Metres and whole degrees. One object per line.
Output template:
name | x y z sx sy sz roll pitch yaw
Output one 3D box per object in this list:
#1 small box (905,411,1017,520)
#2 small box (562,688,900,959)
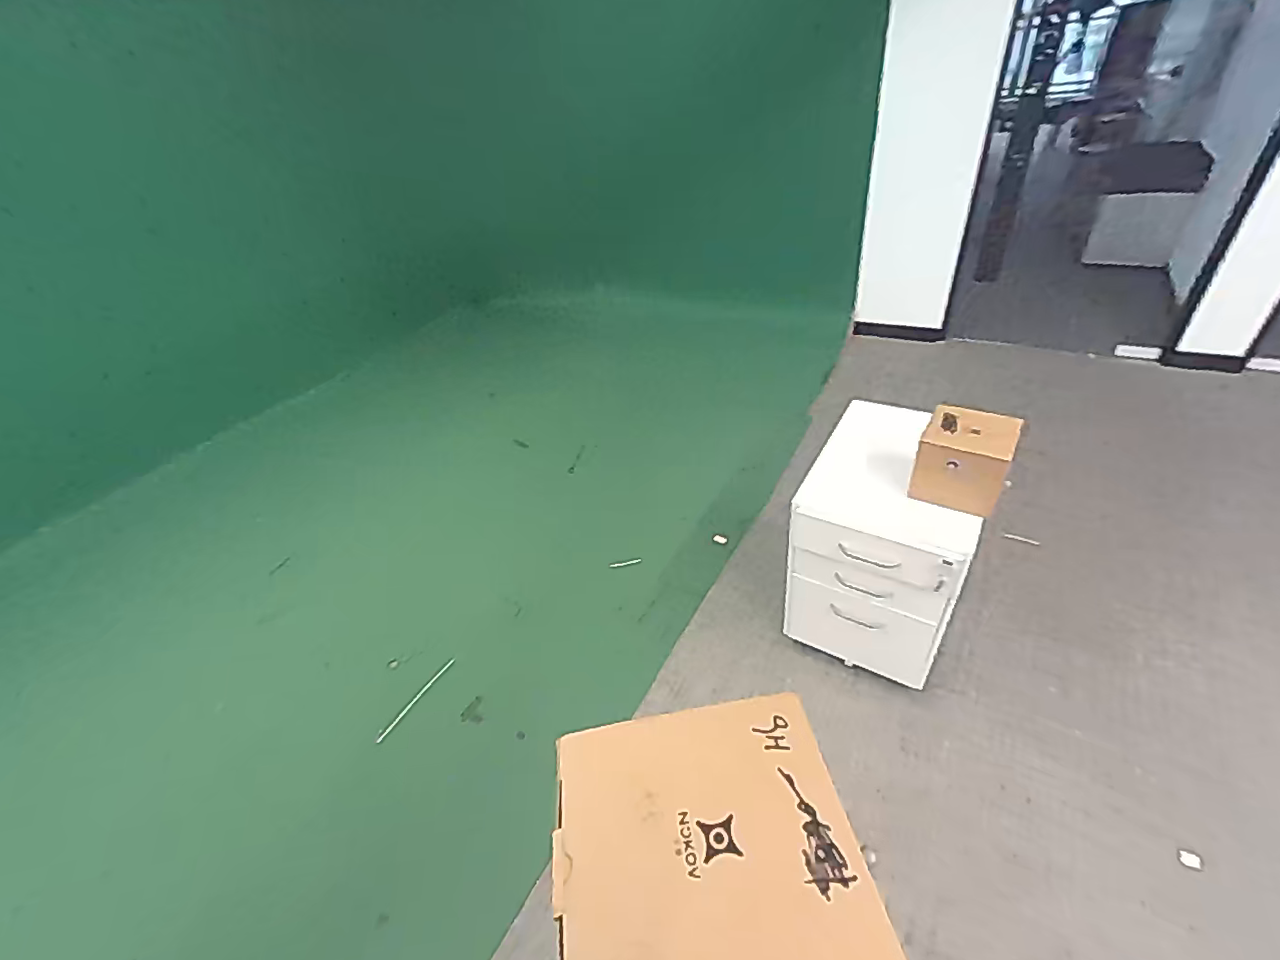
small box | 0.734 -0.033 1.248 0.179 0.176 0.168 19 47 31
small box | 0.047 0.278 0.377 0.179 0.176 0.168 -8 36 -3
